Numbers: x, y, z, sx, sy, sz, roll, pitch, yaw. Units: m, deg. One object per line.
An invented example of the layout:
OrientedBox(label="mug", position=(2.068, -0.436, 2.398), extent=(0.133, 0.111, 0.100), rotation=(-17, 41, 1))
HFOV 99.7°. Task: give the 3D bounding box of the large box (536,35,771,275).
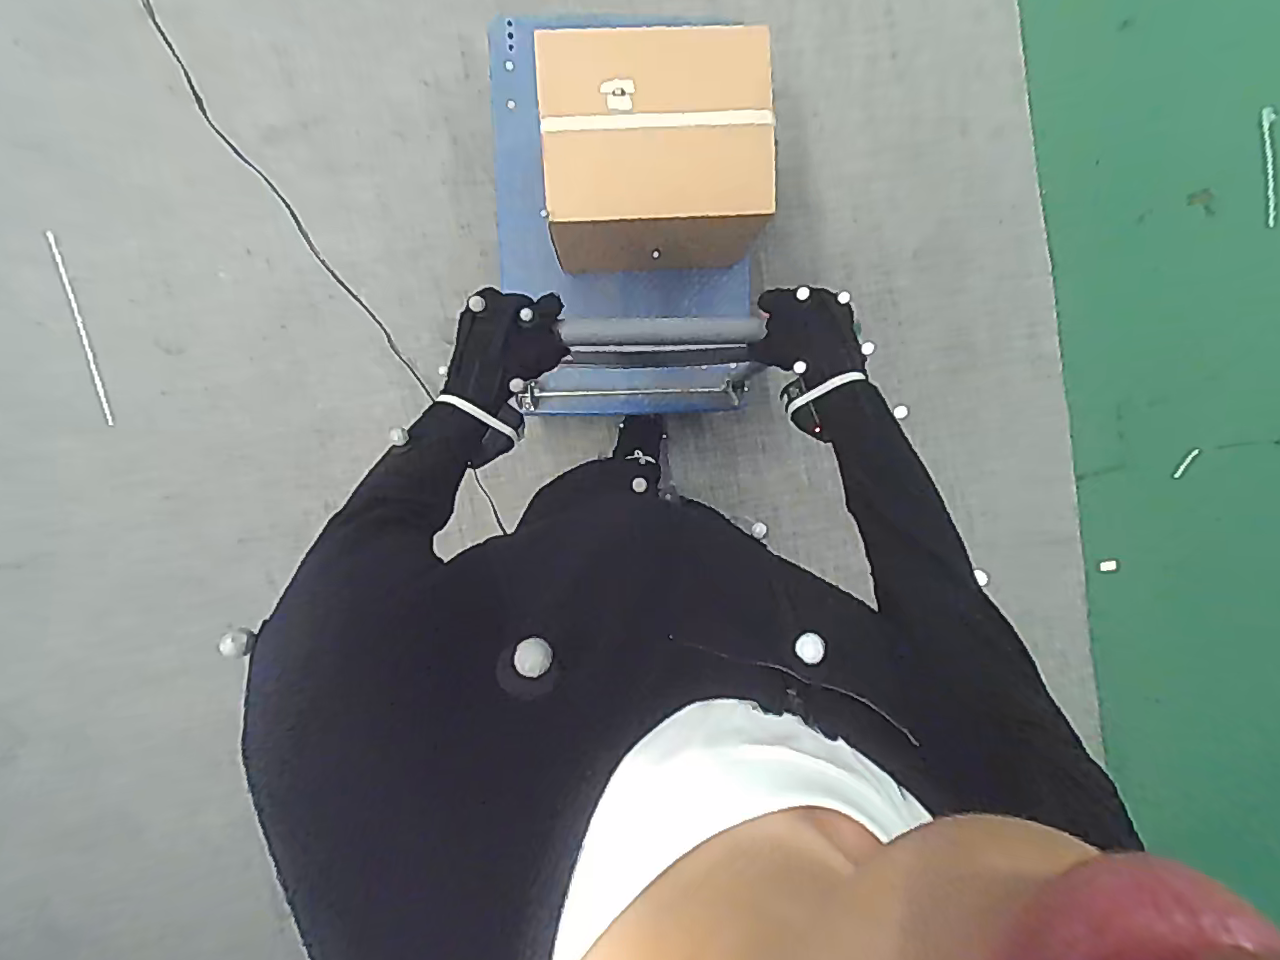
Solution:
OrientedBox(label="large box", position=(0.025, -0.623, 1.097), extent=(0.408, 0.320, 0.320), rotation=(-3, 94, -1))
